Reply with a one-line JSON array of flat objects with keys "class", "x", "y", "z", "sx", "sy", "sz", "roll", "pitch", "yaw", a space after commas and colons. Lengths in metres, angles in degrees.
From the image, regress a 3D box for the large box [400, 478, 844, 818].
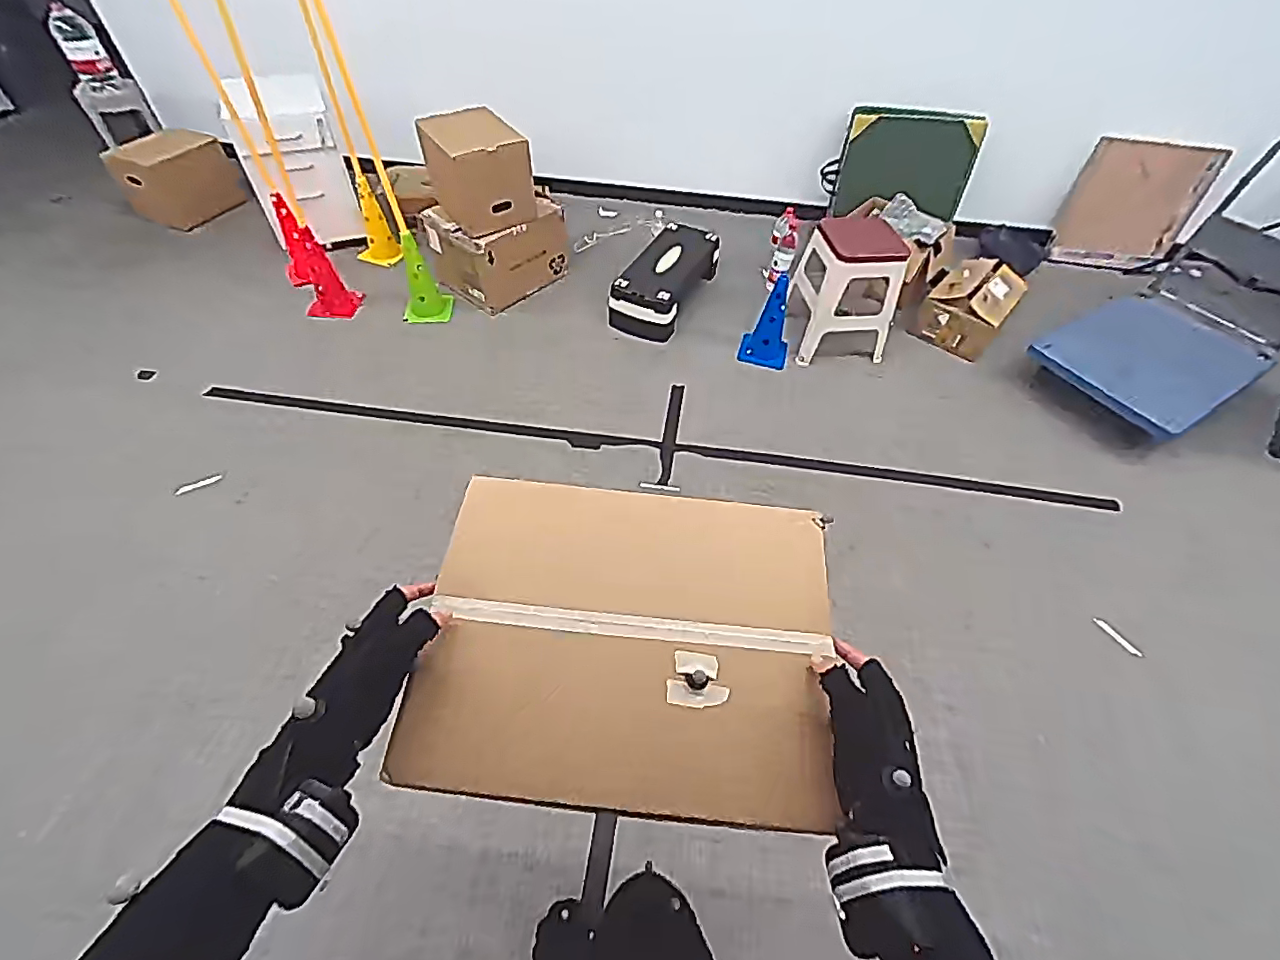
[{"class": "large box", "x": -0.013, "y": 0.223, "z": 0.678, "sx": 0.408, "sy": 0.320, "sz": 0.320, "roll": 7, "pitch": 58, "yaw": 0}]
